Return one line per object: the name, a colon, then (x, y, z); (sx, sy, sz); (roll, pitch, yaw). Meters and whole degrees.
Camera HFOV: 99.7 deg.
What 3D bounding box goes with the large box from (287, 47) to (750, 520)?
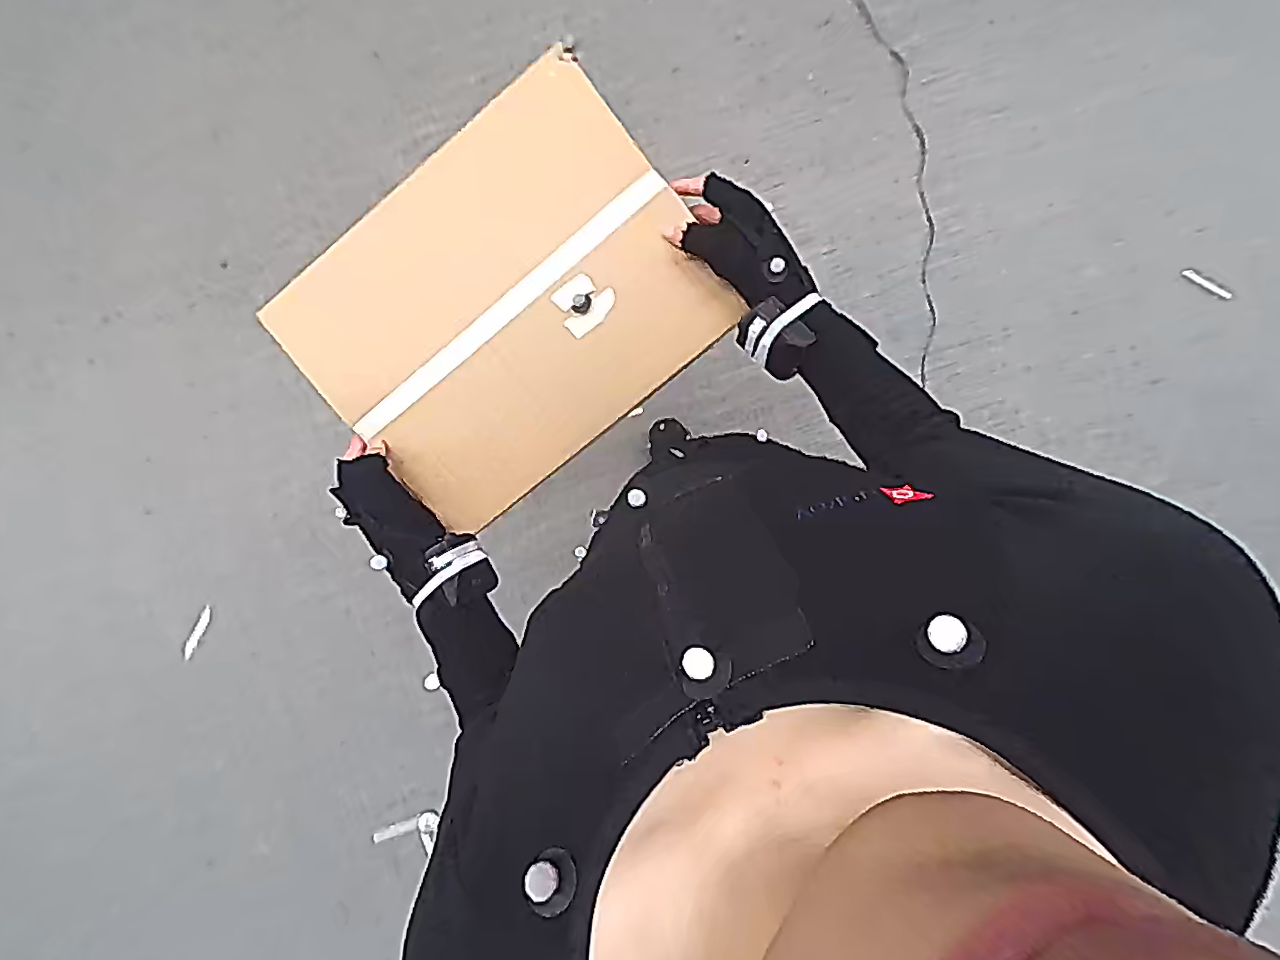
large box: (-0.128, -0.208, 0.712); (0.408, 0.320, 0.320); (-37, 96, 5)
